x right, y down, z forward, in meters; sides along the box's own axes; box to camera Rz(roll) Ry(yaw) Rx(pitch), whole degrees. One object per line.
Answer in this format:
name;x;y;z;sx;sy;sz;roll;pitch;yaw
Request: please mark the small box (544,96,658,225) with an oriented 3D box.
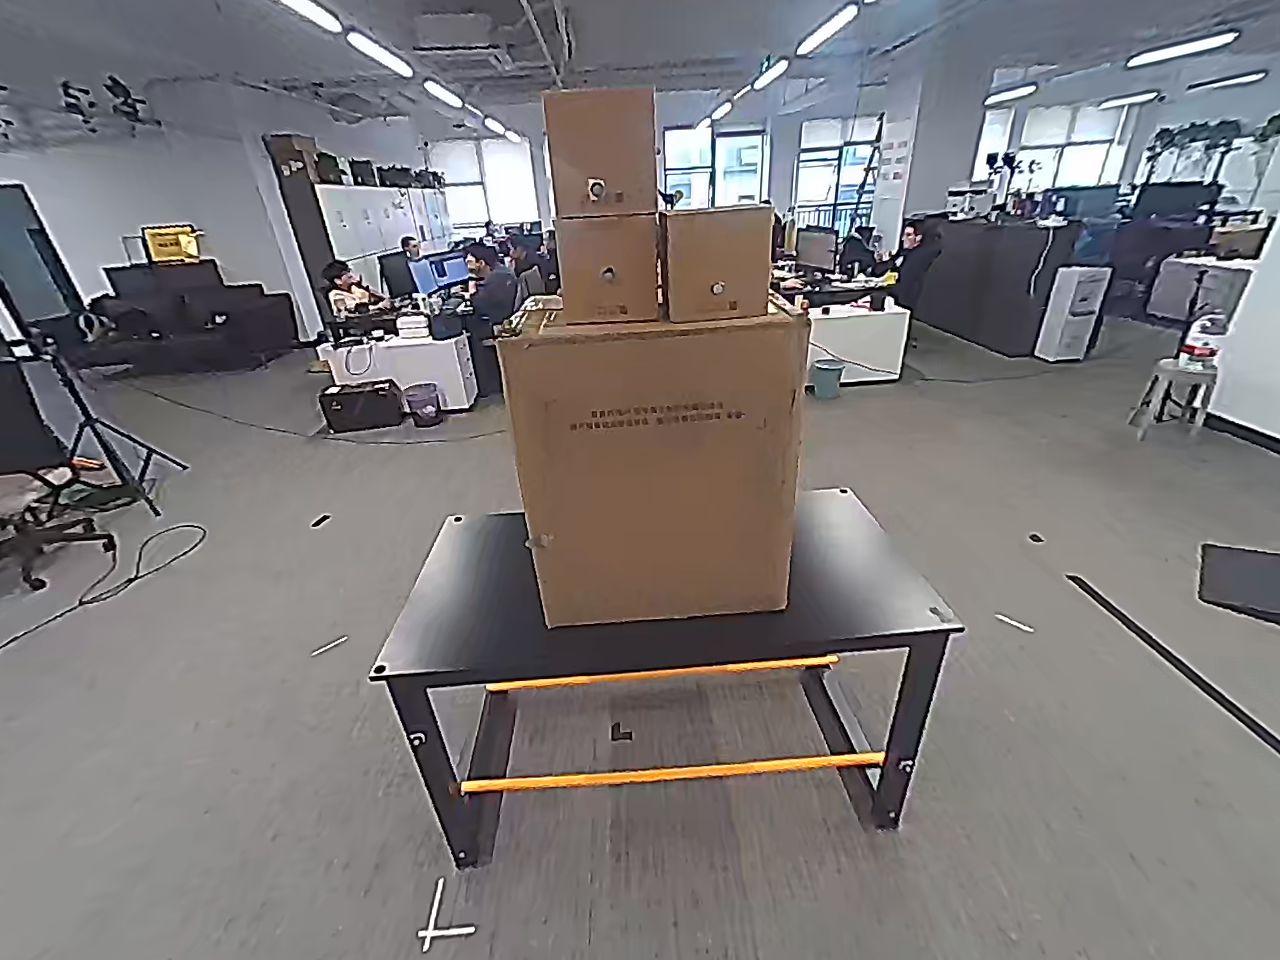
small box;-0.059;-0.523;0.898;0.168;0.176;0.179;-5;29;-1
